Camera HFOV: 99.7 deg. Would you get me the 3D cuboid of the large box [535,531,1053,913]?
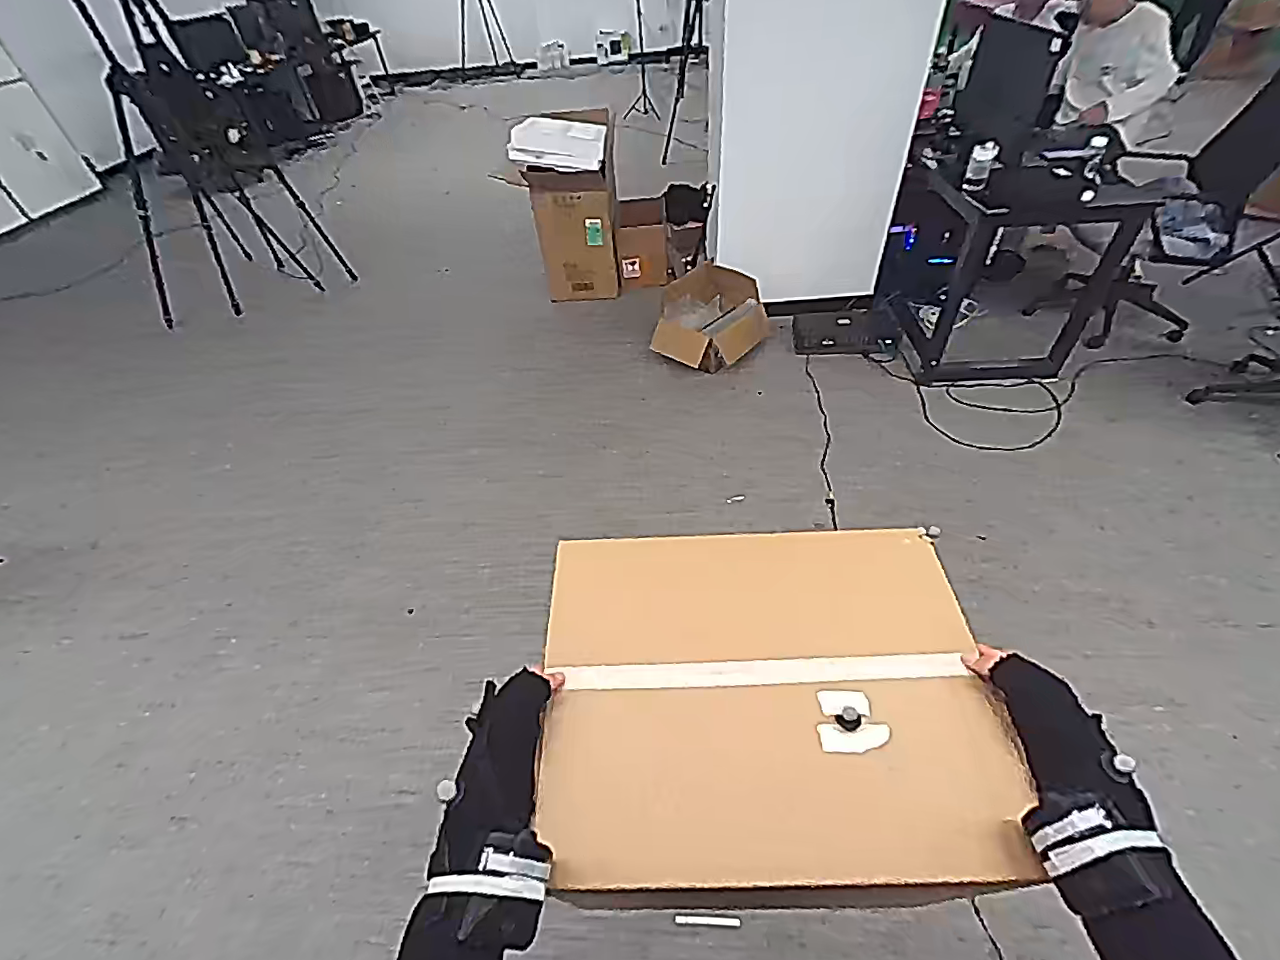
[{"bbox_3d":[0.116,0.280,0.617,0.408,0.320,0.320,-2,49,1],"label":"large box"}]
